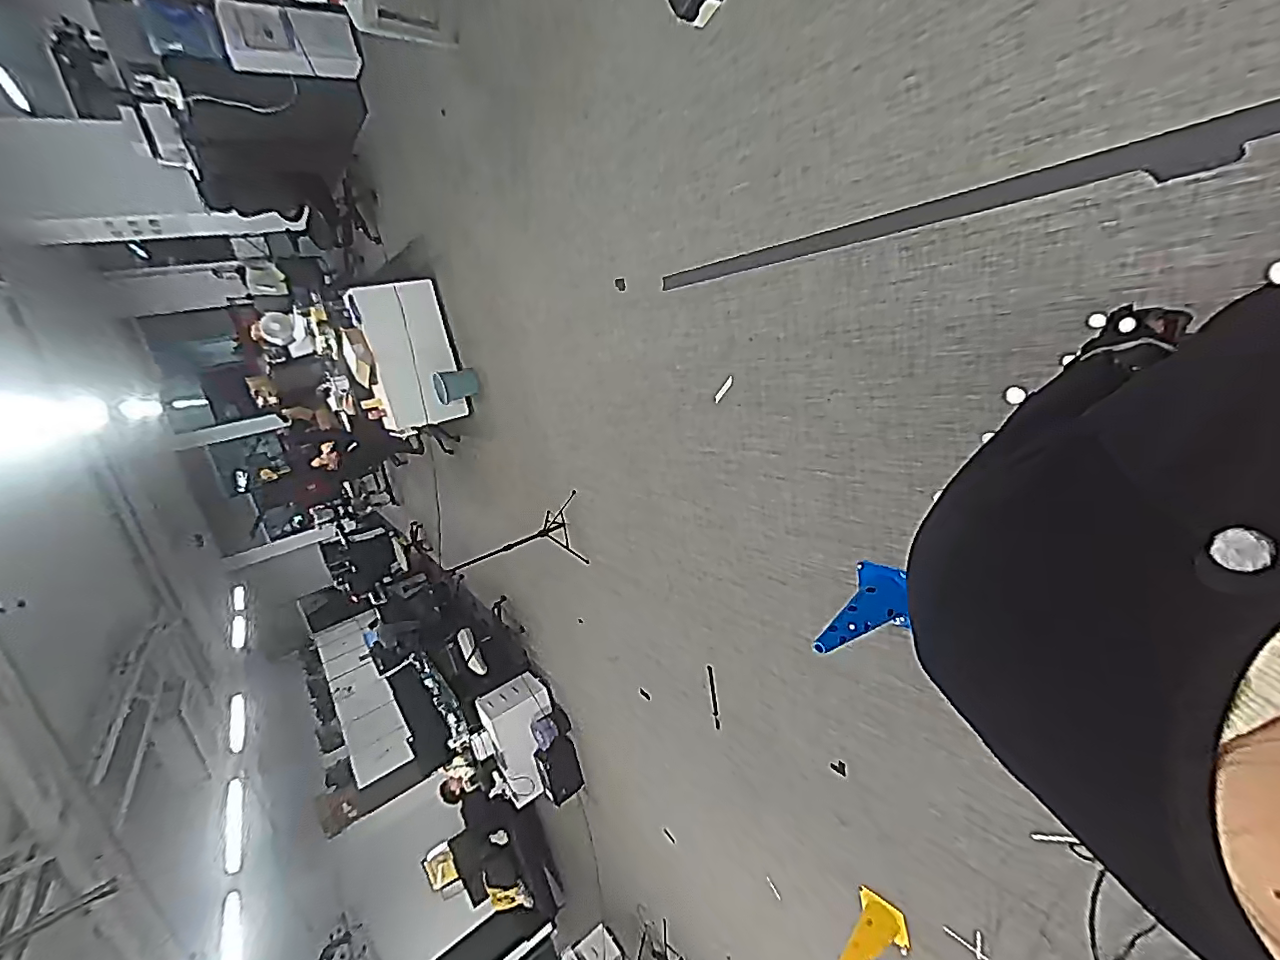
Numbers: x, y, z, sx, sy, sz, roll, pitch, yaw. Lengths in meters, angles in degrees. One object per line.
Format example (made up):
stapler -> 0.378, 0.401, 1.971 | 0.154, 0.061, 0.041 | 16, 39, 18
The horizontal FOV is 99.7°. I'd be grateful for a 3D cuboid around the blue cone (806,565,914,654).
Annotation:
blue cone -> 0.638, 0.419, 1.616 | 0.192, 0.380, 0.193 | 15, 120, 54
